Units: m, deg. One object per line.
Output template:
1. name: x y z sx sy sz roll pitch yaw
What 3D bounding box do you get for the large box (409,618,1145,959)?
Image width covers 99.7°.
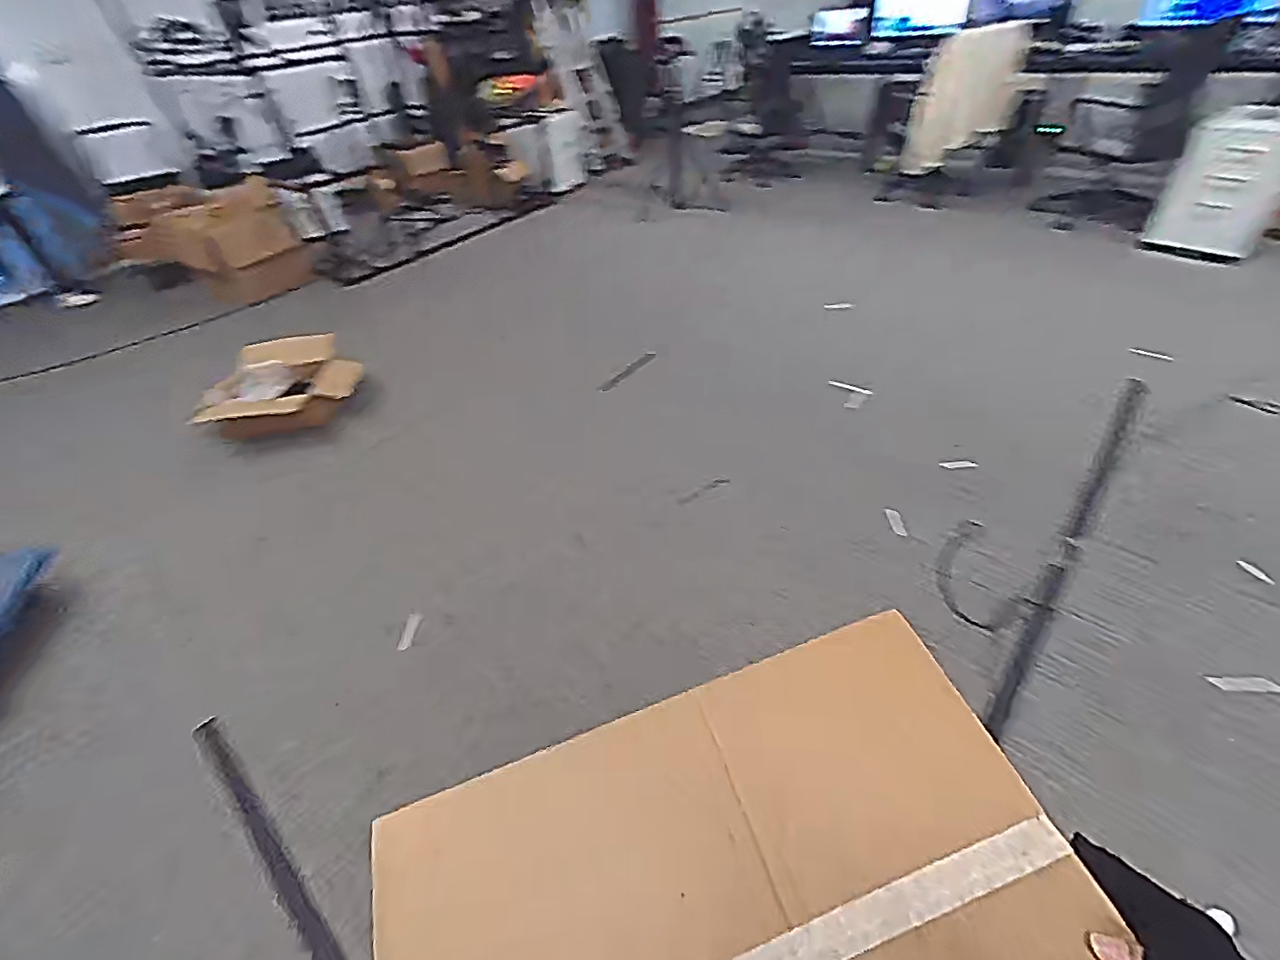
1. large box: 0.088 0.373 0.424 0.408 0.320 0.320 -19 53 -5
